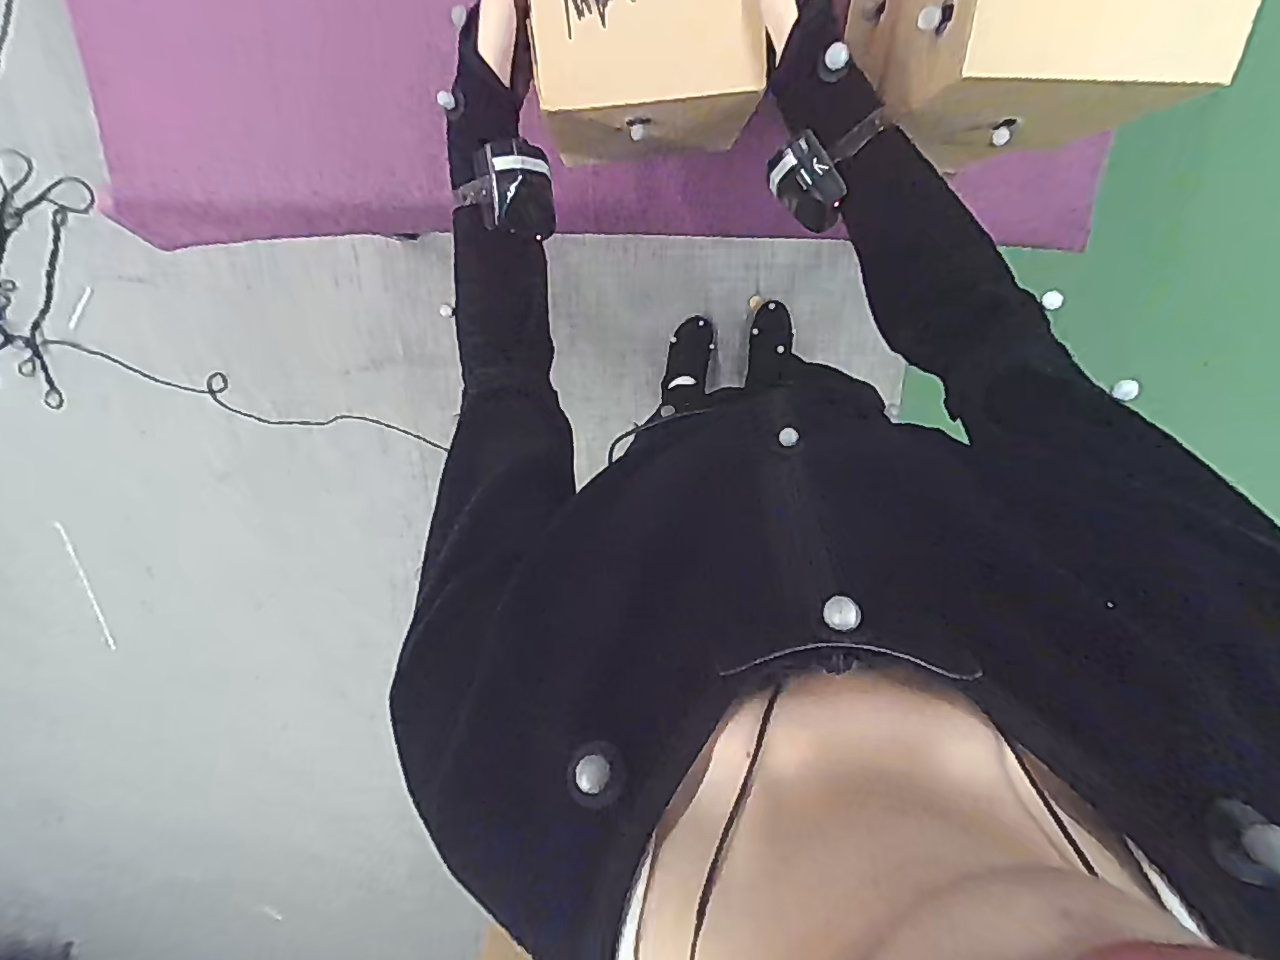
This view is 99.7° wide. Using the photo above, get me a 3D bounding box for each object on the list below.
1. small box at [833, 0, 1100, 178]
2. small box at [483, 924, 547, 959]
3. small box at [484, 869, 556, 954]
[{"bbox_3d":[0.306,-0.417,0.537,0.168,0.176,0.179,7,108,1],"label":"small box"},{"bbox_3d":[-0.382,1.463,1.598,0.179,0.176,0.168,11,109,-1],"label":"small box"},{"bbox_3d":[-0.384,1.422,1.757,0.168,0.176,0.179,19,108,-3],"label":"small box"}]
